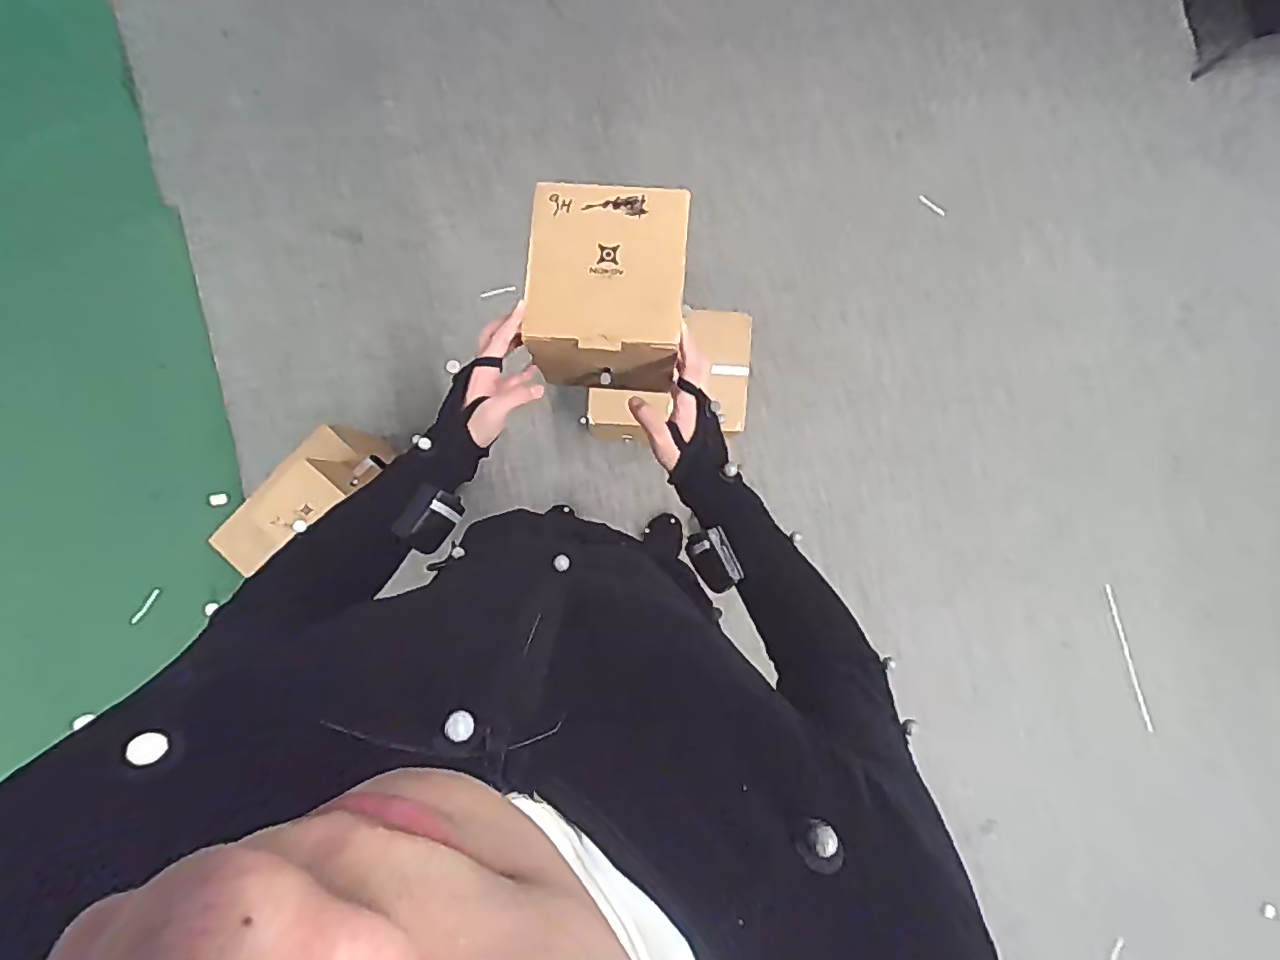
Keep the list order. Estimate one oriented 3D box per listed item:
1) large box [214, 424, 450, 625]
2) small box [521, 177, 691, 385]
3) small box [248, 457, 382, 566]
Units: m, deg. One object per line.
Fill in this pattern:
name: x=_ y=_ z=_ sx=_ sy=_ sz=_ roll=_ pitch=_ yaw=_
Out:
large box: x=-0.803 y=0.110 z=1.472 sx=0.320 sy=0.320 sz=0.408 roll=42 pitch=88 yaw=1
small box: x=-0.033 y=-0.218 z=0.636 sx=0.168 sy=0.176 sz=0.179 roll=4 pitch=84 yaw=0
small box: x=-0.720 y=0.069 z=1.229 sx=0.168 sy=0.176 sz=0.179 roll=42 pitch=87 yaw=-1
